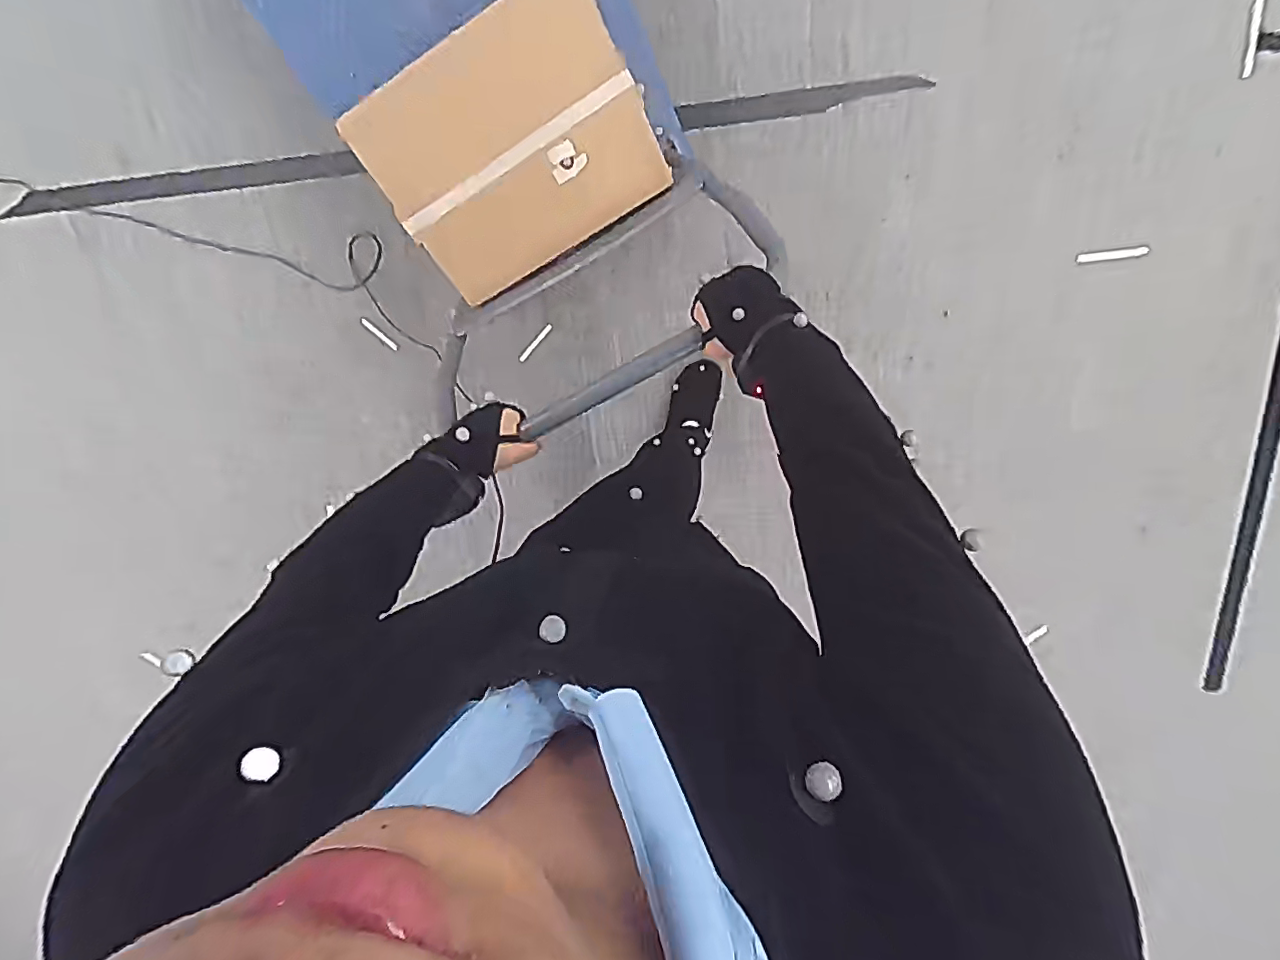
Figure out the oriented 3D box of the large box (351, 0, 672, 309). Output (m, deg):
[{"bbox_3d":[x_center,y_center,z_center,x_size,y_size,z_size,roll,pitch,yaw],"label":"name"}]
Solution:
[{"bbox_3d":[-0.209,-0.580,0.963,0.408,0.320,0.320,-29,125,10],"label":"large box"}]
